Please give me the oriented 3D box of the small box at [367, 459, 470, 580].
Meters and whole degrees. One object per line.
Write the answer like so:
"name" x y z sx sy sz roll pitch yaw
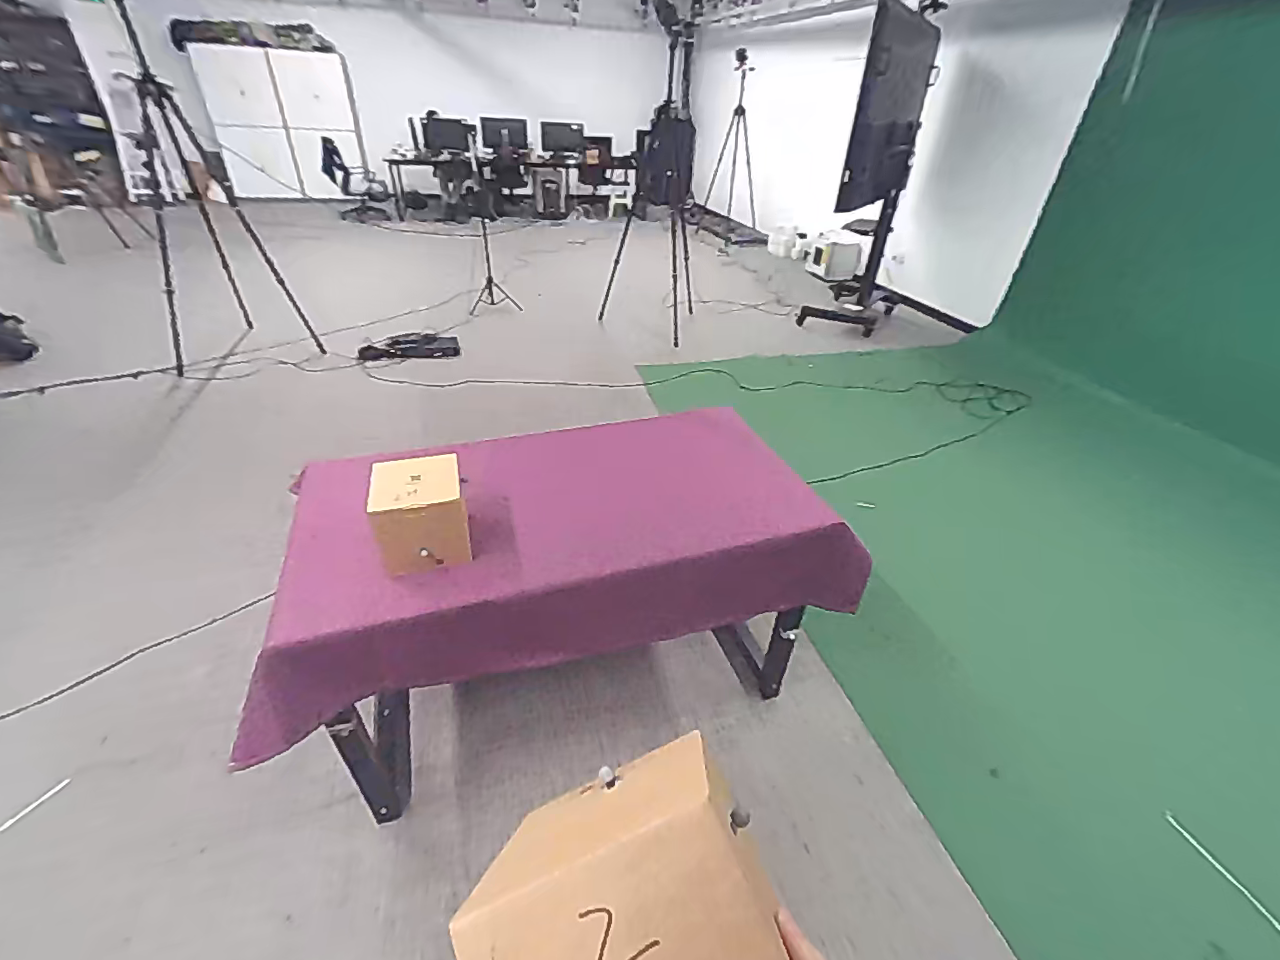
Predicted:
"small box" -0.450 0.079 1.117 0.168 0.176 0.179 -9 36 -16
